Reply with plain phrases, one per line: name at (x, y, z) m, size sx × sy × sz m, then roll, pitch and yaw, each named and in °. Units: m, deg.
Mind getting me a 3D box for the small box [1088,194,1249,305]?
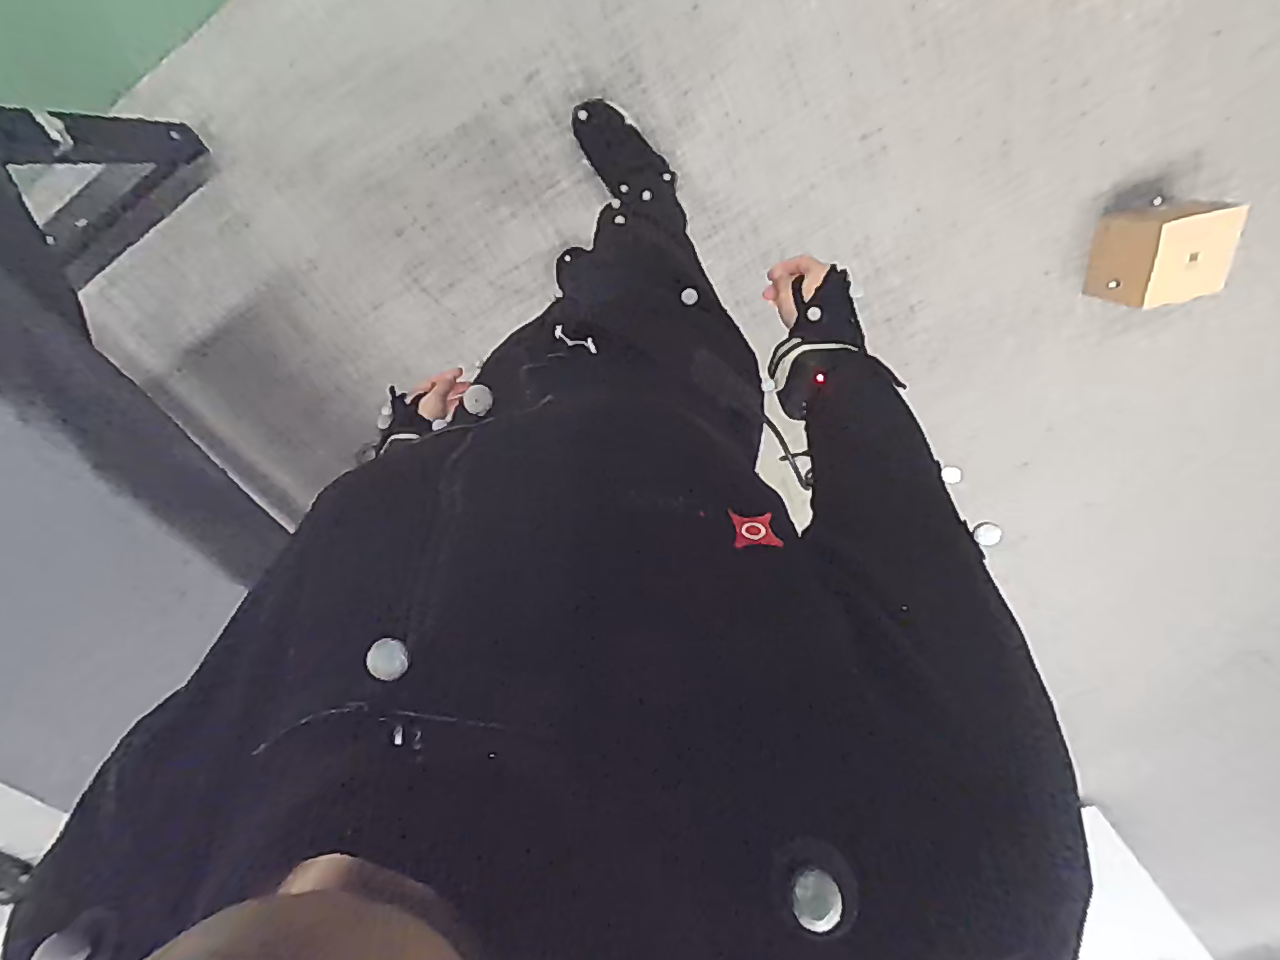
small box at (1.115, -0.498, 1.161) m, size 0.168 × 0.176 × 0.179 m, roll -13°, pitch 119°, yaw 4°
